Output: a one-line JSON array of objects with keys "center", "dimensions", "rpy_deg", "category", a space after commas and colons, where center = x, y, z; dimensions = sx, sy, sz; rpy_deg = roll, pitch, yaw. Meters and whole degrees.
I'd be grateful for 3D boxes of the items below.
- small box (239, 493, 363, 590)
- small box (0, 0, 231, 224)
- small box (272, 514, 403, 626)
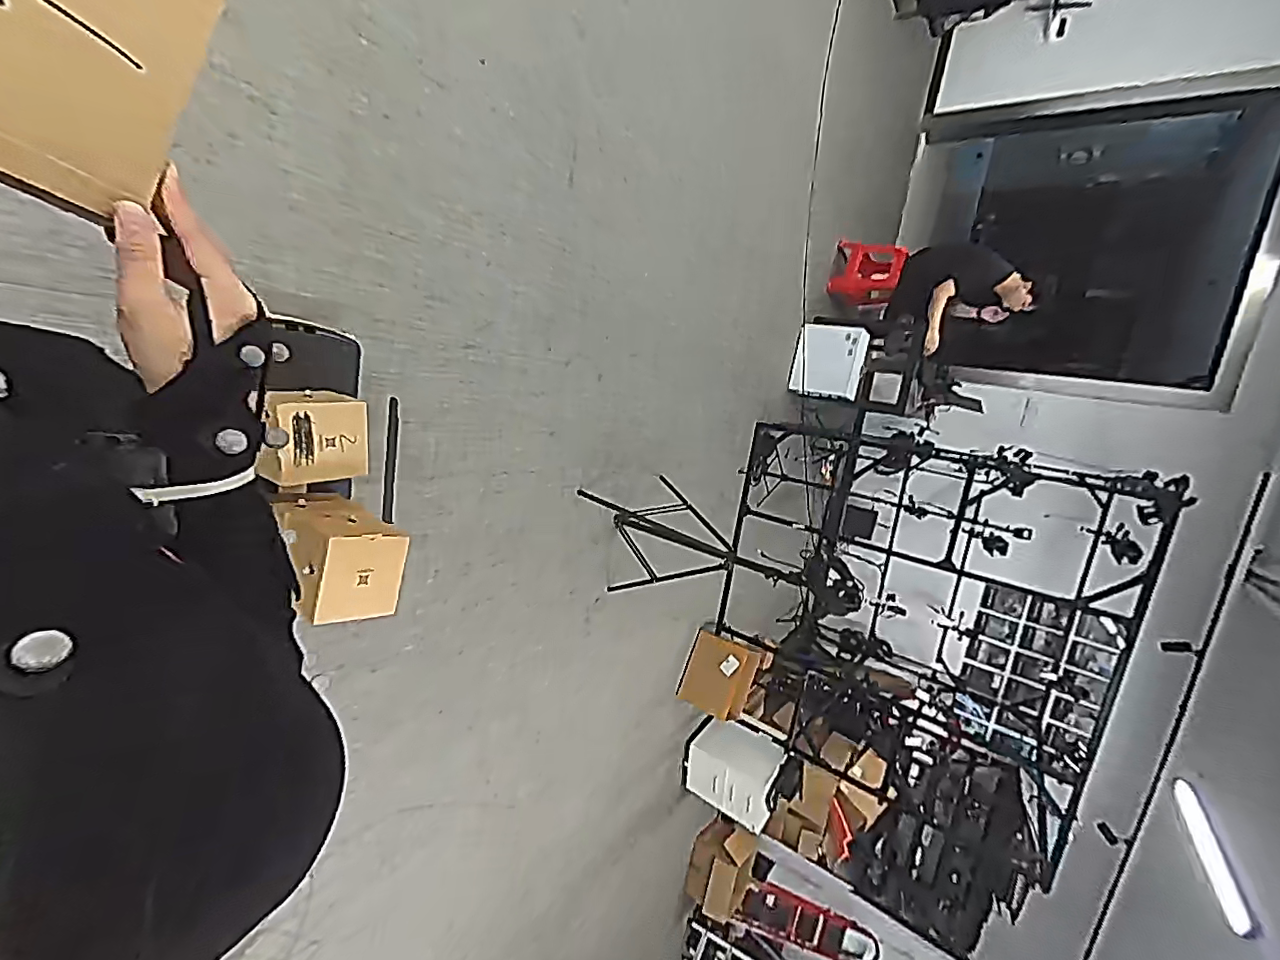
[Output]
[{"center": [-0.748, 0.128, 1.189], "dimensions": [0.179, 0.176, 0.168], "rpy_deg": [2, 101, -56], "category": "small box"}, {"center": [-0.354, -0.255, 0.278], "dimensions": [0.179, 0.176, 0.168], "rpy_deg": [21, 92, -54], "category": "small box"}, {"center": [-0.618, 0.176, 1.101], "dimensions": [0.168, 0.176, 0.179], "rpy_deg": [8, 96, -56], "category": "small box"}]
